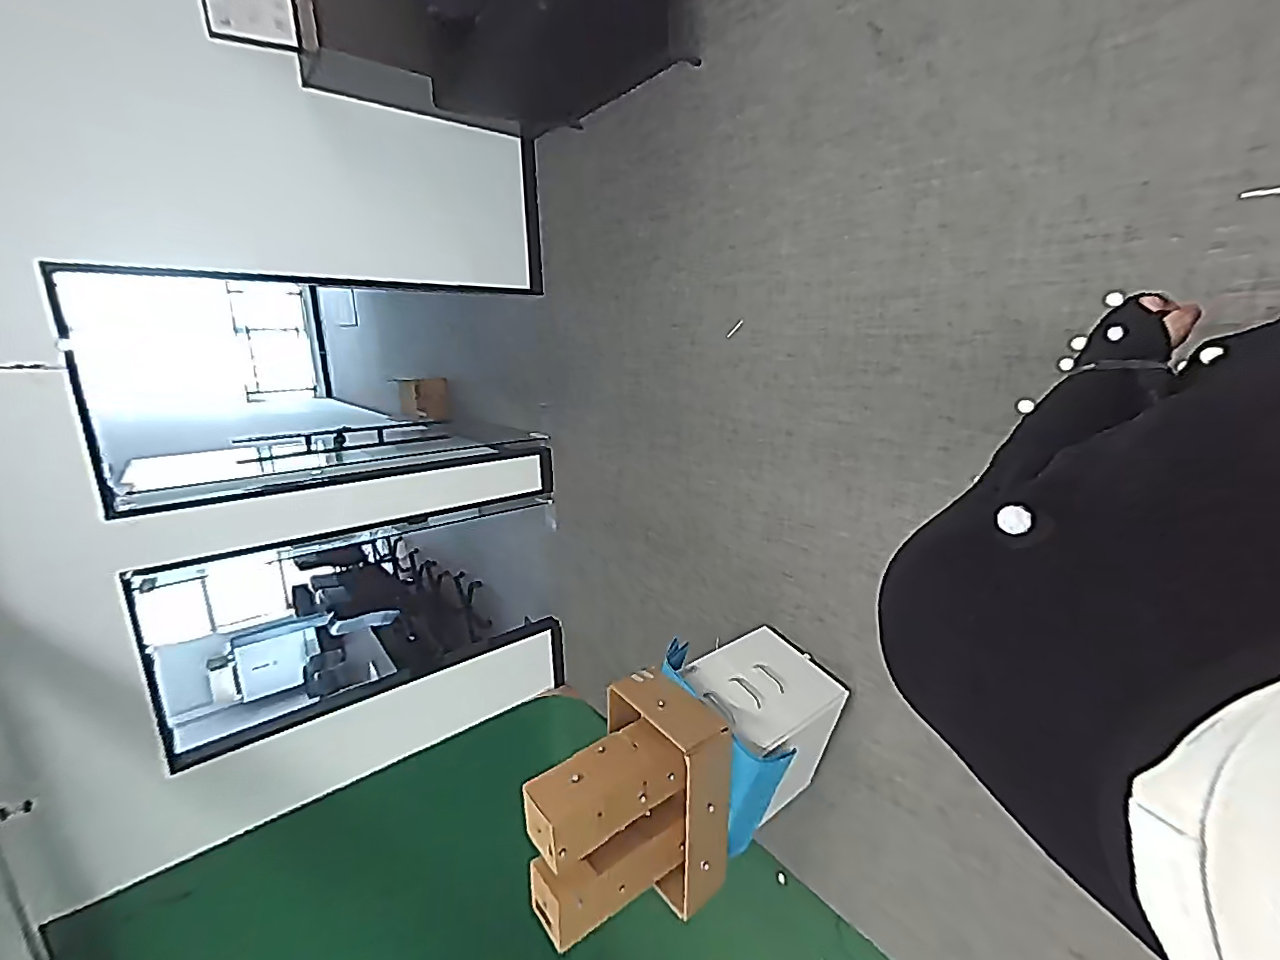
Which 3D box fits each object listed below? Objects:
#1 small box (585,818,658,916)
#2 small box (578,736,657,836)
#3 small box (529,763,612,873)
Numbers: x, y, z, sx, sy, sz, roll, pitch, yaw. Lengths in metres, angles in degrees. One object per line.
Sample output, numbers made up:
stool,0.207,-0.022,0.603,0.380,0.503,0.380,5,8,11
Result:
small box,-0.057,1.167,1.668,0.168,0.176,0.179,15,110,50
small box,-0.066,0.898,1.610,0.179,0.176,0.168,16,114,51
small box,-0.194,0.931,1.515,0.179,0.176,0.168,16,113,52
